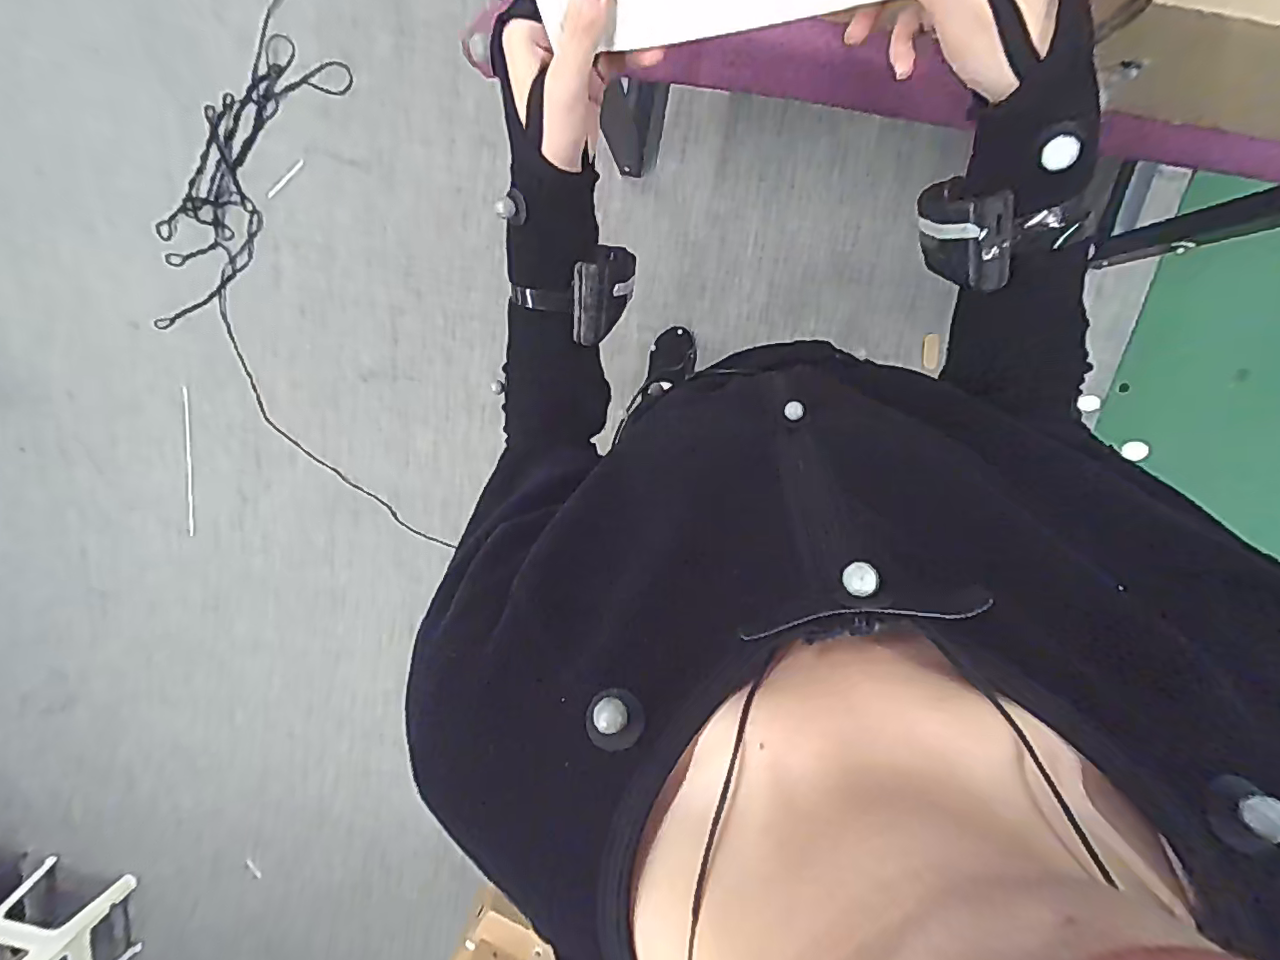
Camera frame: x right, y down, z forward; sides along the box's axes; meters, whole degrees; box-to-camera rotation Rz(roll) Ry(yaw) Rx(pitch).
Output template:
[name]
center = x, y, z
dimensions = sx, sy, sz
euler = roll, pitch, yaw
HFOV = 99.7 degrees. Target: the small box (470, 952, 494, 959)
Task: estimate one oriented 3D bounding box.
[small box]
center = -0.448, 1.471, 1.487
dimensions = 0.168, 0.176, 0.179
euler = 30, 105, 0
